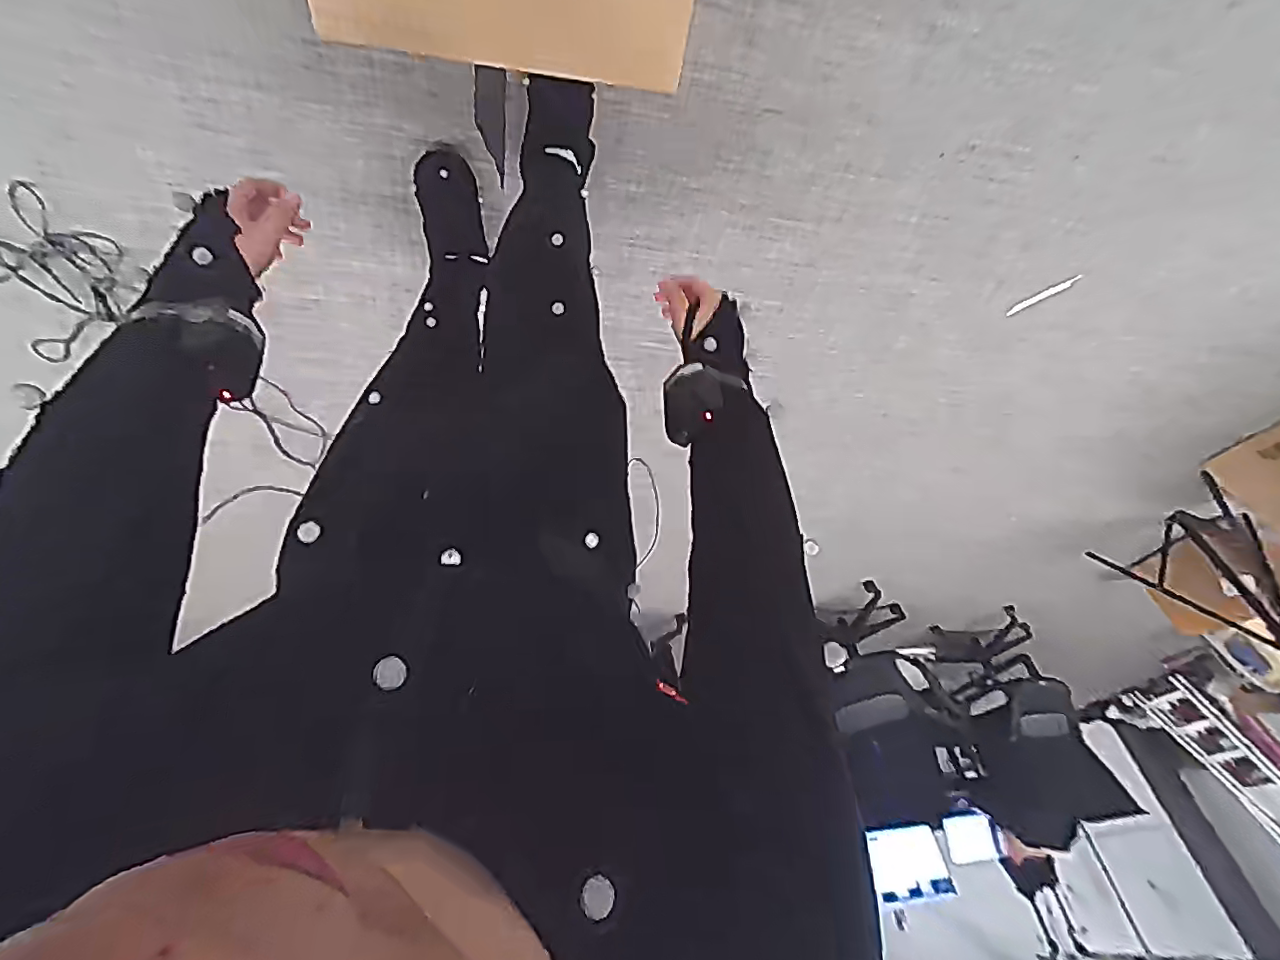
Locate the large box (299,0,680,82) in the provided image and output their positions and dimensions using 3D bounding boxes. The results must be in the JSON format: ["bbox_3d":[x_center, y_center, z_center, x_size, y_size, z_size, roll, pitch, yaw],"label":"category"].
[{"bbox_3d":[-0.160,-0.686,0.589,0.408,0.320,0.320,0,142,-11],"label":"large box"}]
